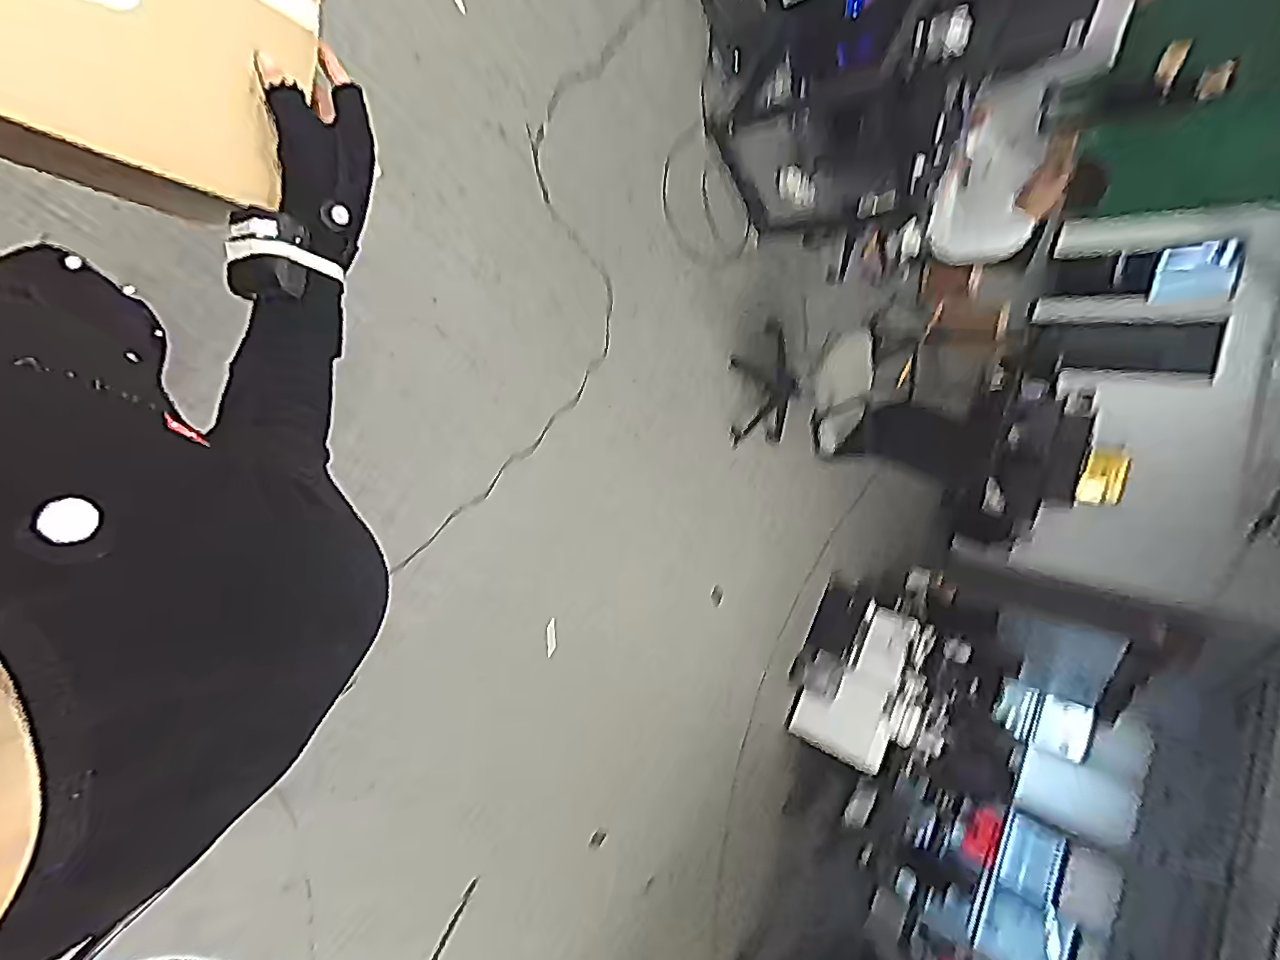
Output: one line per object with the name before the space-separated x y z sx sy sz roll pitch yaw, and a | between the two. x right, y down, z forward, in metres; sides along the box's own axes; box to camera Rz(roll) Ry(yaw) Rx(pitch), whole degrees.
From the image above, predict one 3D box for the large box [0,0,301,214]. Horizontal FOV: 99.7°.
large box | -0.516 -0.427 0.381 0.408 0.320 0.320 3 104 -51
